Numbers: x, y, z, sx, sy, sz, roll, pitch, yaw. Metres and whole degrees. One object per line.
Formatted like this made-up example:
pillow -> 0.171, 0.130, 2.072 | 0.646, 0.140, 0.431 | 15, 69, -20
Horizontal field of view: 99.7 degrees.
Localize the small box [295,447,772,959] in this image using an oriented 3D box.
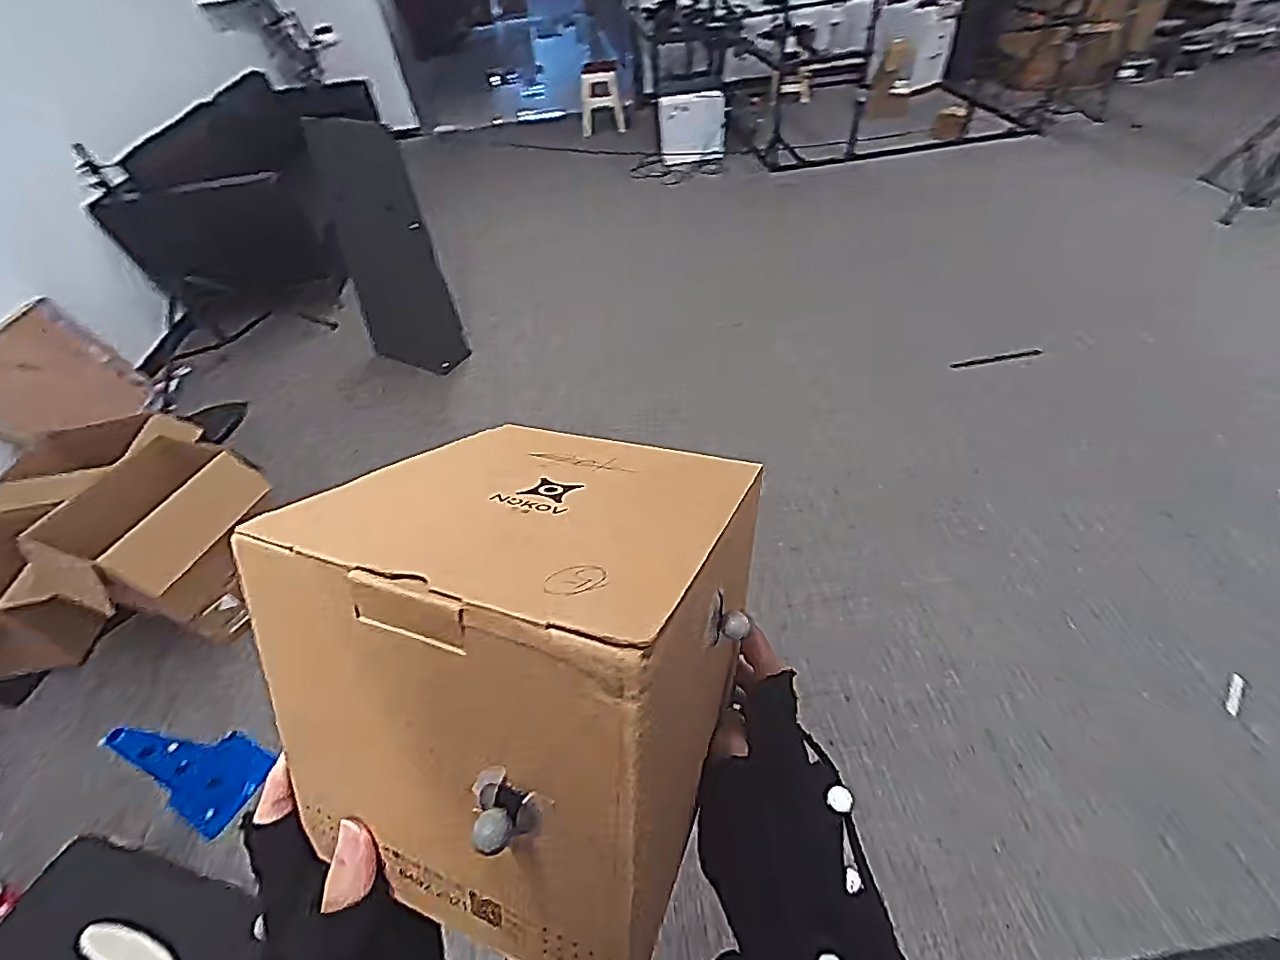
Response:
small box -> -0.035, 0.094, 0.289 | 0.168, 0.176, 0.179 | 11, 22, 20
